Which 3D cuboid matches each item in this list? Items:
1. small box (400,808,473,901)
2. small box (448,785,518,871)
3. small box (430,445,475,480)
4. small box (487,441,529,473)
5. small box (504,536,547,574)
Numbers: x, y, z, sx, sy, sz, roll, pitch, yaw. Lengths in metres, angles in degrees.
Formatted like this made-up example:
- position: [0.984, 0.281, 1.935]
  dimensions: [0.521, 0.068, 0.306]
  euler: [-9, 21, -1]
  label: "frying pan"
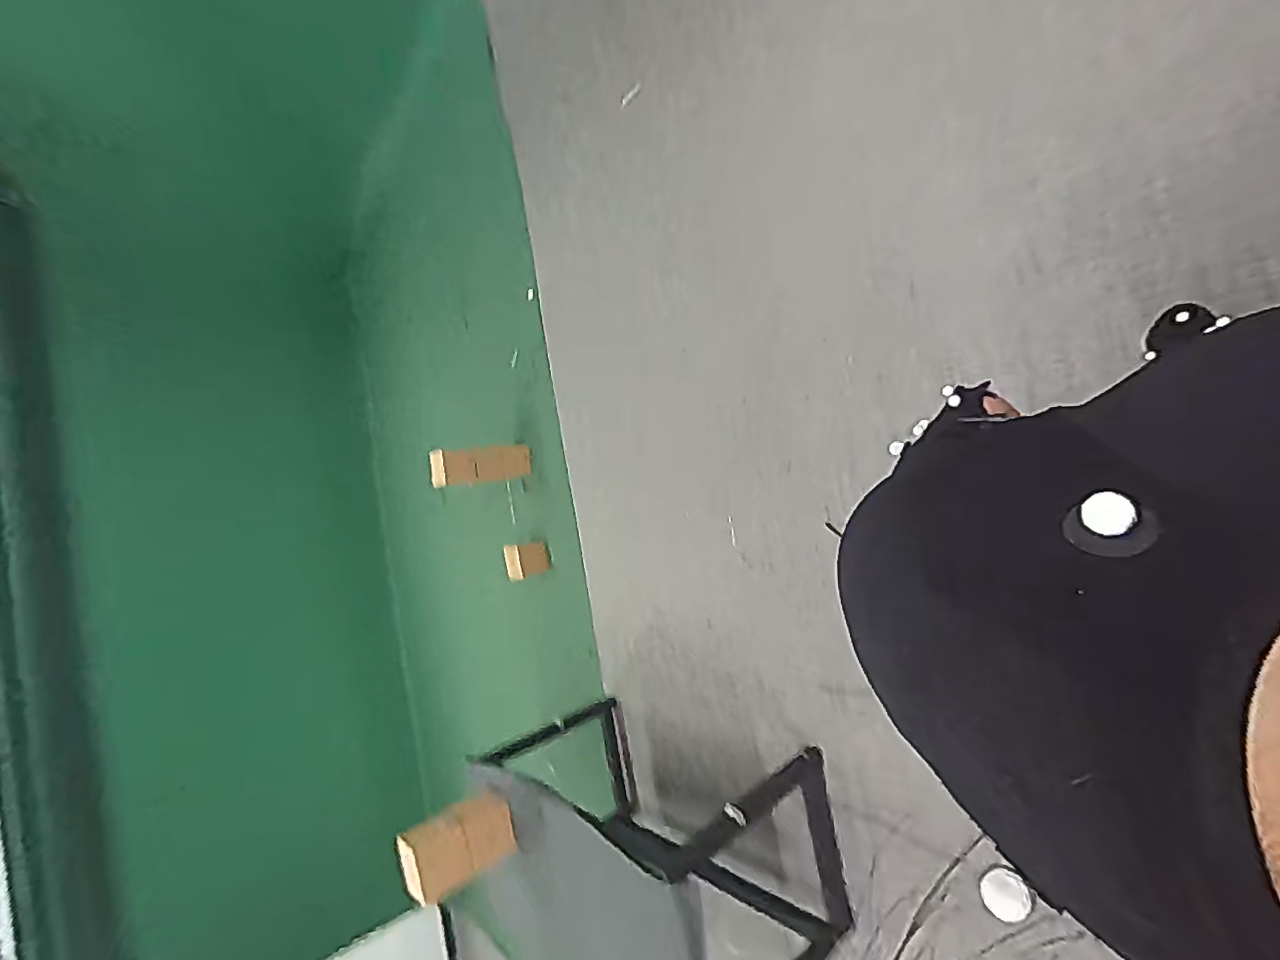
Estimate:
- position: [-0.678, 1.245, 1.812]
  dimensions: [0.168, 0.176, 0.179]
  euler: [-18, 84, 47]
  label: "small box"
- position: [-0.559, 1.226, 1.921]
  dimensions: [0.168, 0.176, 0.179]
  euler: [-12, 90, 48]
  label: "small box"
- position: [-0.964, -0.091, 2.781]
  dimensions: [0.179, 0.176, 0.168]
  euler: [-7, 90, 50]
  label: "small box"
- position: [-0.727, -0.129, 3.006]
  dimensions: [0.179, 0.176, 0.168]
  euler: [-1, 95, 49]
  label: "small box"
- position: [-0.627, 0.414, 2.974]
  dimensions: [0.168, 0.176, 0.179]
  euler: [-14, 86, 48]
  label: "small box"
